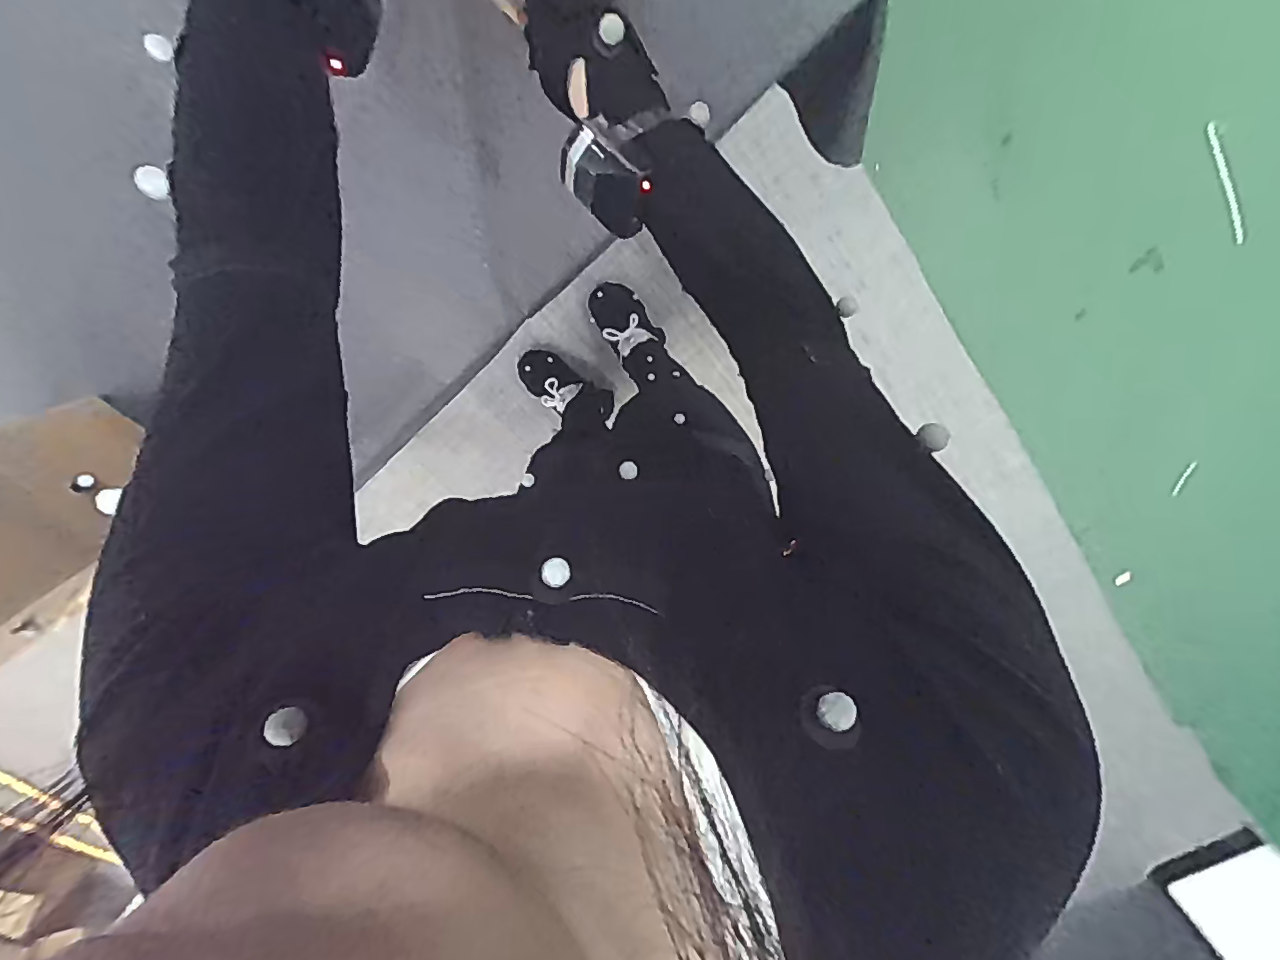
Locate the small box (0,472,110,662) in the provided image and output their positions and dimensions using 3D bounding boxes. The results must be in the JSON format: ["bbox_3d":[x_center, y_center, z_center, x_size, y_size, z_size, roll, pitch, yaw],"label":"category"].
[{"bbox_3d":[-0.665,0.098,0.494,0.168,0.176,0.179,-40,111,14],"label":"small box"}]
